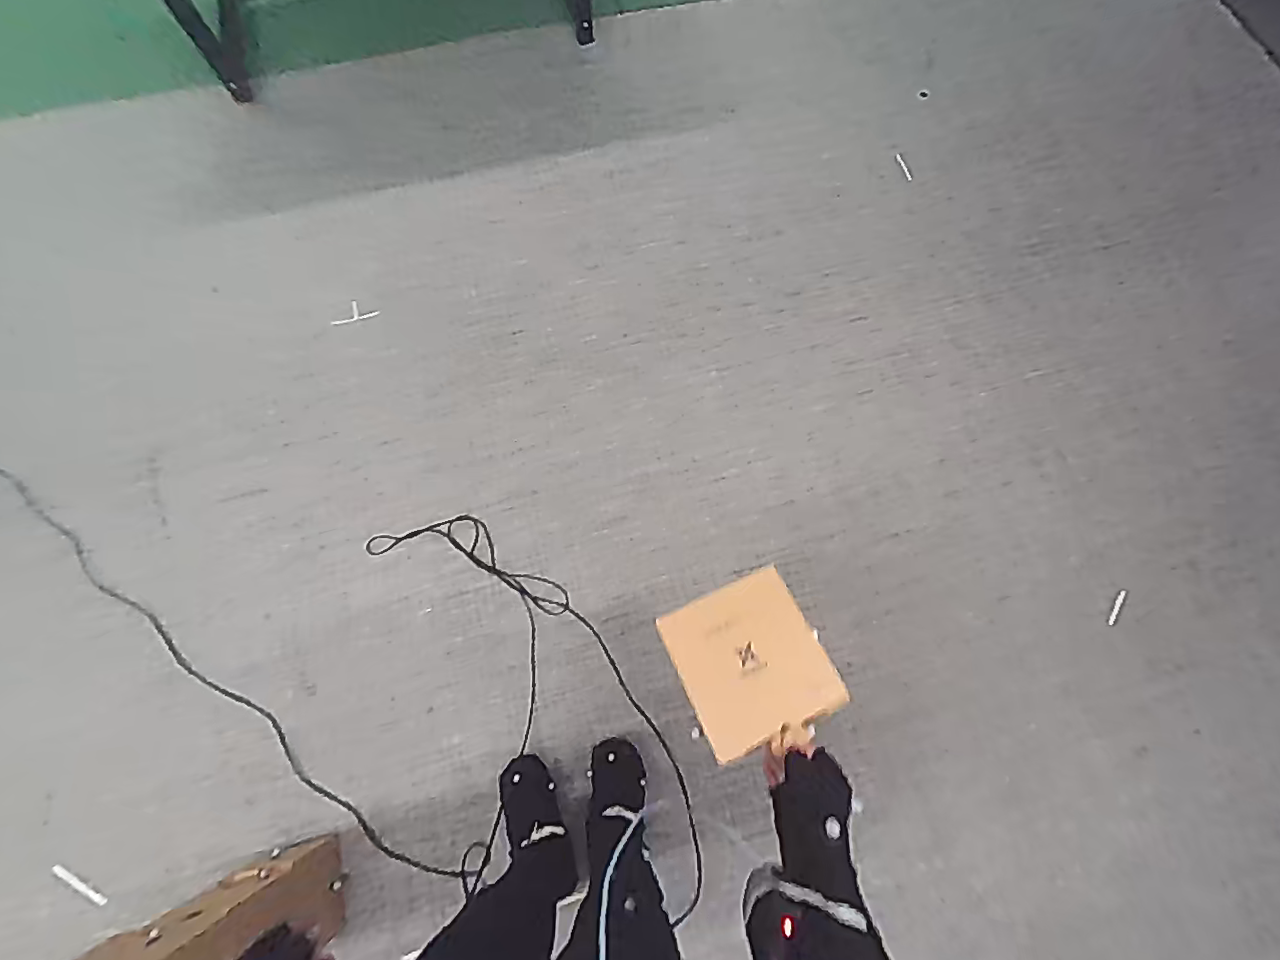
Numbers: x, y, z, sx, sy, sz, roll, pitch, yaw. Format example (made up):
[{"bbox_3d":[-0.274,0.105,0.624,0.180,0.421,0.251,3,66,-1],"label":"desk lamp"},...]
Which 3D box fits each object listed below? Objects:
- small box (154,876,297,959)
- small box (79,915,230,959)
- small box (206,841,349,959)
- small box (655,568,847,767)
[{"bbox_3d":[-0.696,0.792,0.891,0.168,0.176,0.179,-13,75,-5],"label":"small box"},{"bbox_3d":[-0.701,0.745,0.736,0.168,0.176,0.179,-8,73,-4],"label":"small box"},{"bbox_3d":[-0.697,0.835,1.053,0.168,0.176,0.179,-17,72,-3],"label":"small box"},{"bbox_3d":[0.134,0.244,0.697,0.168,0.176,0.179,-24,62,-5],"label":"small box"}]
